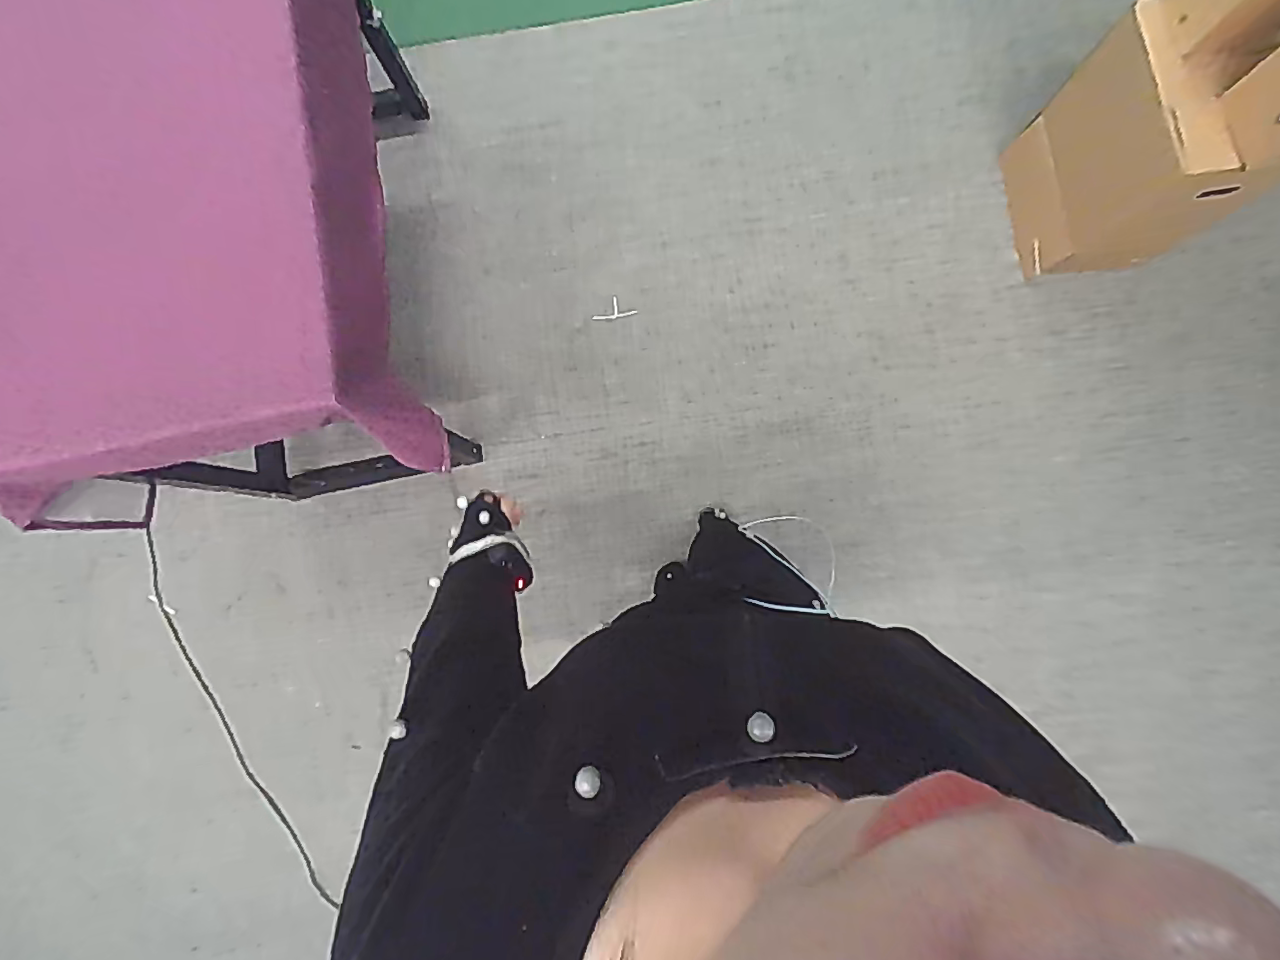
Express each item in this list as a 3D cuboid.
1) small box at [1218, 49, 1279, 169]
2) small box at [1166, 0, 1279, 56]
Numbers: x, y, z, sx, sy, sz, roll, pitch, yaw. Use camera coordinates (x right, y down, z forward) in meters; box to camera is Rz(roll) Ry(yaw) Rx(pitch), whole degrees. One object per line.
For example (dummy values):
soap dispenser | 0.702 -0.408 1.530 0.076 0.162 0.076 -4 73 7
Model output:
small box | 1.279 -0.722 1.025 0.168 0.176 0.179 -9 82 0
small box | 1.189 -0.974 1.056 0.179 0.176 0.168 -7 84 1
